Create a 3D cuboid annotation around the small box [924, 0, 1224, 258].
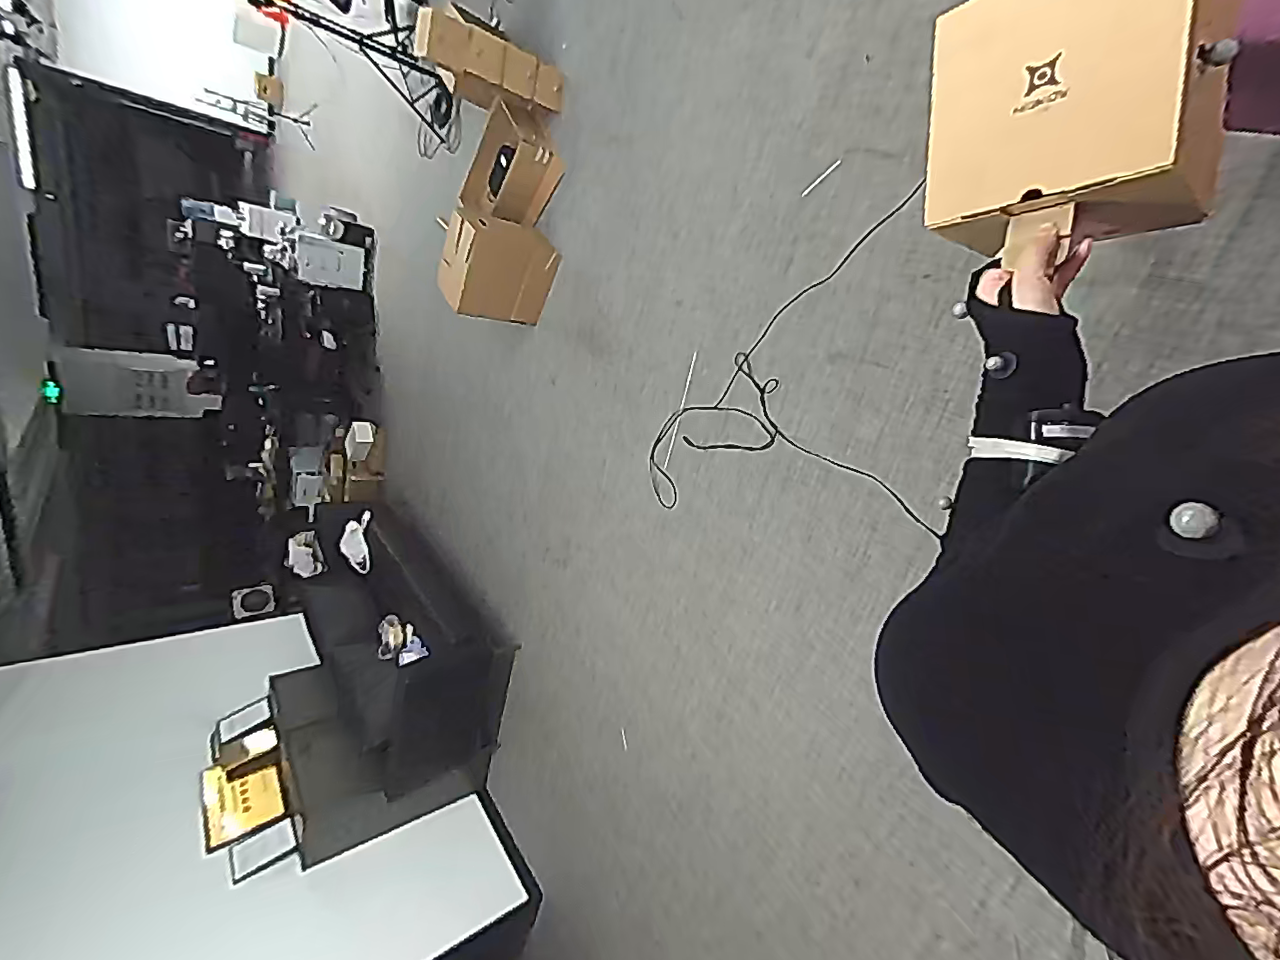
[{"bbox_3d":[0.371,-0.310,0.467,0.168,0.176,0.179,9,103,50],"label":"small box"}]
